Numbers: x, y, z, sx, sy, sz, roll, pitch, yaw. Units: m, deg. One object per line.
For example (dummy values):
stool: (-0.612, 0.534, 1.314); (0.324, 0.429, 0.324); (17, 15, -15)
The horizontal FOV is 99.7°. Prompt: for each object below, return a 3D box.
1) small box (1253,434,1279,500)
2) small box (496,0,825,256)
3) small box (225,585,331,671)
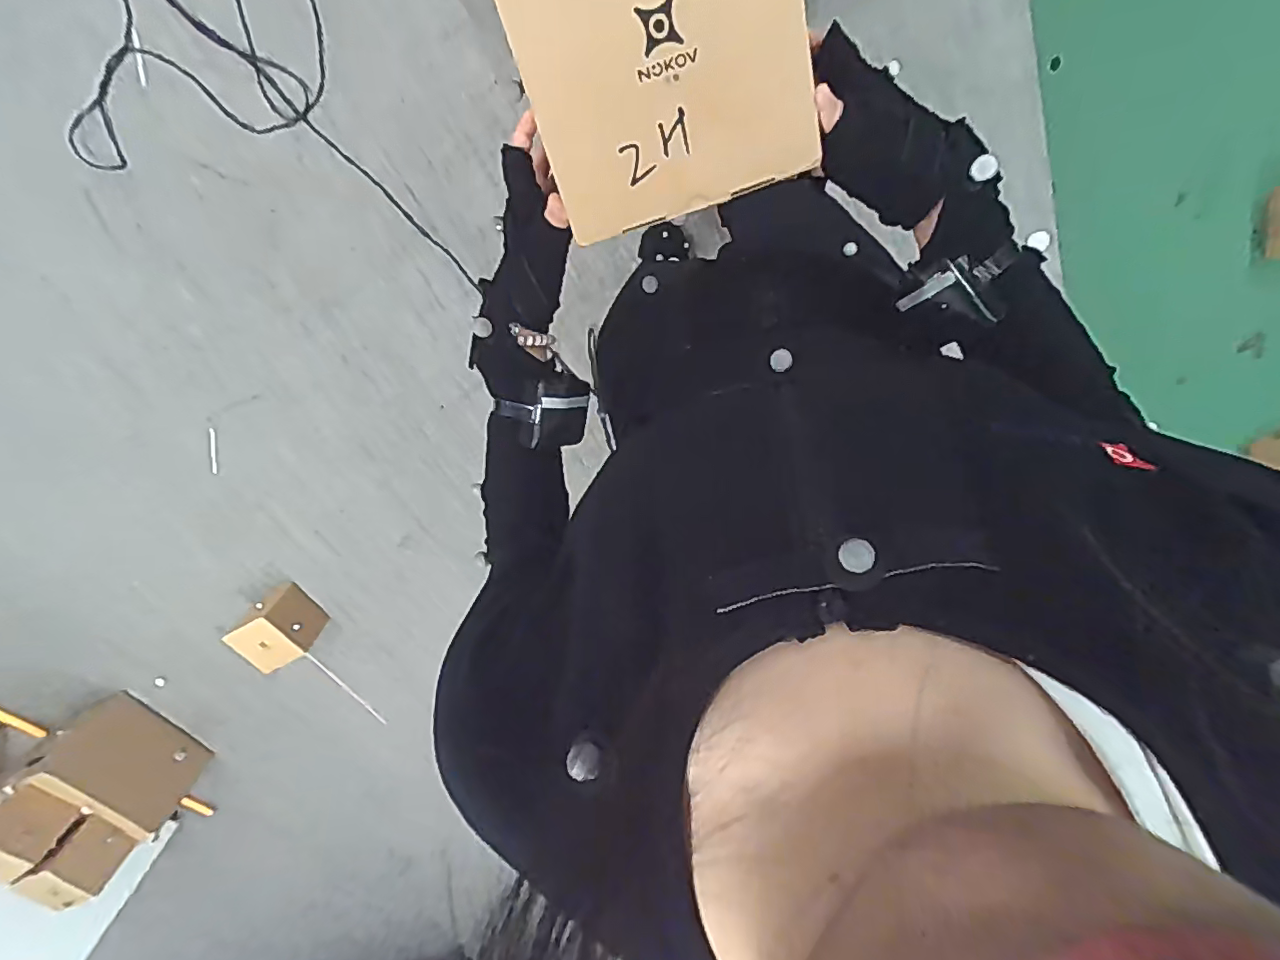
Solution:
small box: (1.927, -0.034, 1.546); (0.168, 0.176, 0.179); (-24, 116, 10)
small box: (0.008, -0.274, 0.372); (0.168, 0.176, 0.179); (-17, 119, 5)
small box: (-1.113, 0.449, 1.678); (0.168, 0.176, 0.179); (-27, 117, 11)
